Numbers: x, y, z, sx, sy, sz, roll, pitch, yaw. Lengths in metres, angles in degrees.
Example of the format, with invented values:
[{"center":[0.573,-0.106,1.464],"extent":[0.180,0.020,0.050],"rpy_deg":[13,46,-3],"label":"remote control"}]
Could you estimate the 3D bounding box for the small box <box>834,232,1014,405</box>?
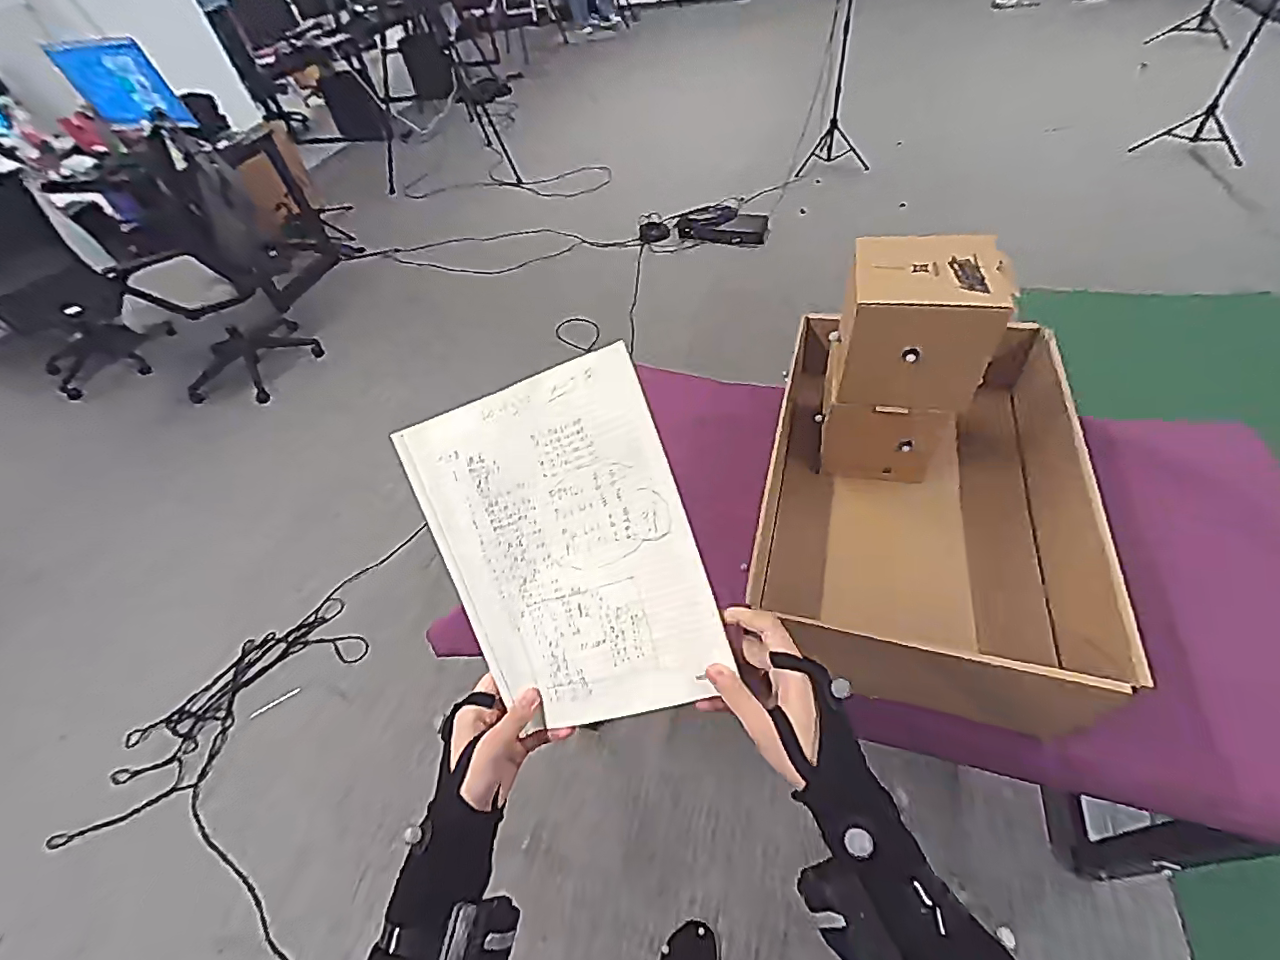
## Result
[{"center":[0.379,-0.222,0.754],"extent":[0.179,0.176,0.168],"rpy_deg":[7,52,14],"label":"small box"}]
